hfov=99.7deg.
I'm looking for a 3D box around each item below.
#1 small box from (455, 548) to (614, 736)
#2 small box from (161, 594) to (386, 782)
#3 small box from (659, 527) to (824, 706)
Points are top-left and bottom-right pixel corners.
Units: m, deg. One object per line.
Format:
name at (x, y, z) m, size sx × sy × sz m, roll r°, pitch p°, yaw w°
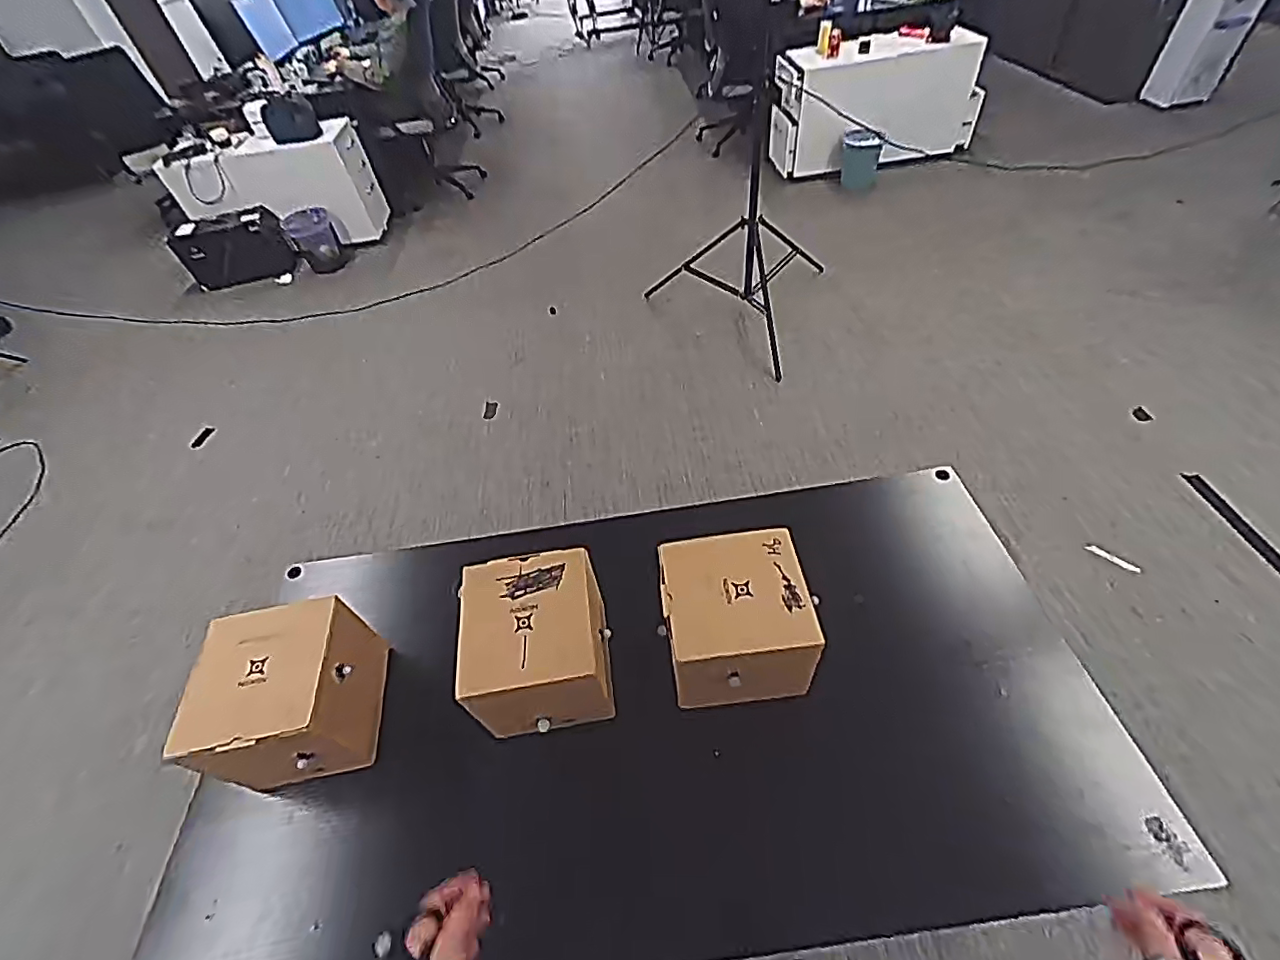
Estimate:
small box at (-0.132, 0.219, 0.725) m, size 0.168 × 0.176 × 0.179 m, roll -9°, pitch 50°, yaw -1°
small box at (-0.458, 0.281, 0.714) m, size 0.168 × 0.176 × 0.179 m, roll -11°, pitch 49°, yaw -4°
small box at (0.126, 0.186, 0.720) m, size 0.179 × 0.176 × 0.168 m, roll -8°, pitch 49°, yaw 2°
